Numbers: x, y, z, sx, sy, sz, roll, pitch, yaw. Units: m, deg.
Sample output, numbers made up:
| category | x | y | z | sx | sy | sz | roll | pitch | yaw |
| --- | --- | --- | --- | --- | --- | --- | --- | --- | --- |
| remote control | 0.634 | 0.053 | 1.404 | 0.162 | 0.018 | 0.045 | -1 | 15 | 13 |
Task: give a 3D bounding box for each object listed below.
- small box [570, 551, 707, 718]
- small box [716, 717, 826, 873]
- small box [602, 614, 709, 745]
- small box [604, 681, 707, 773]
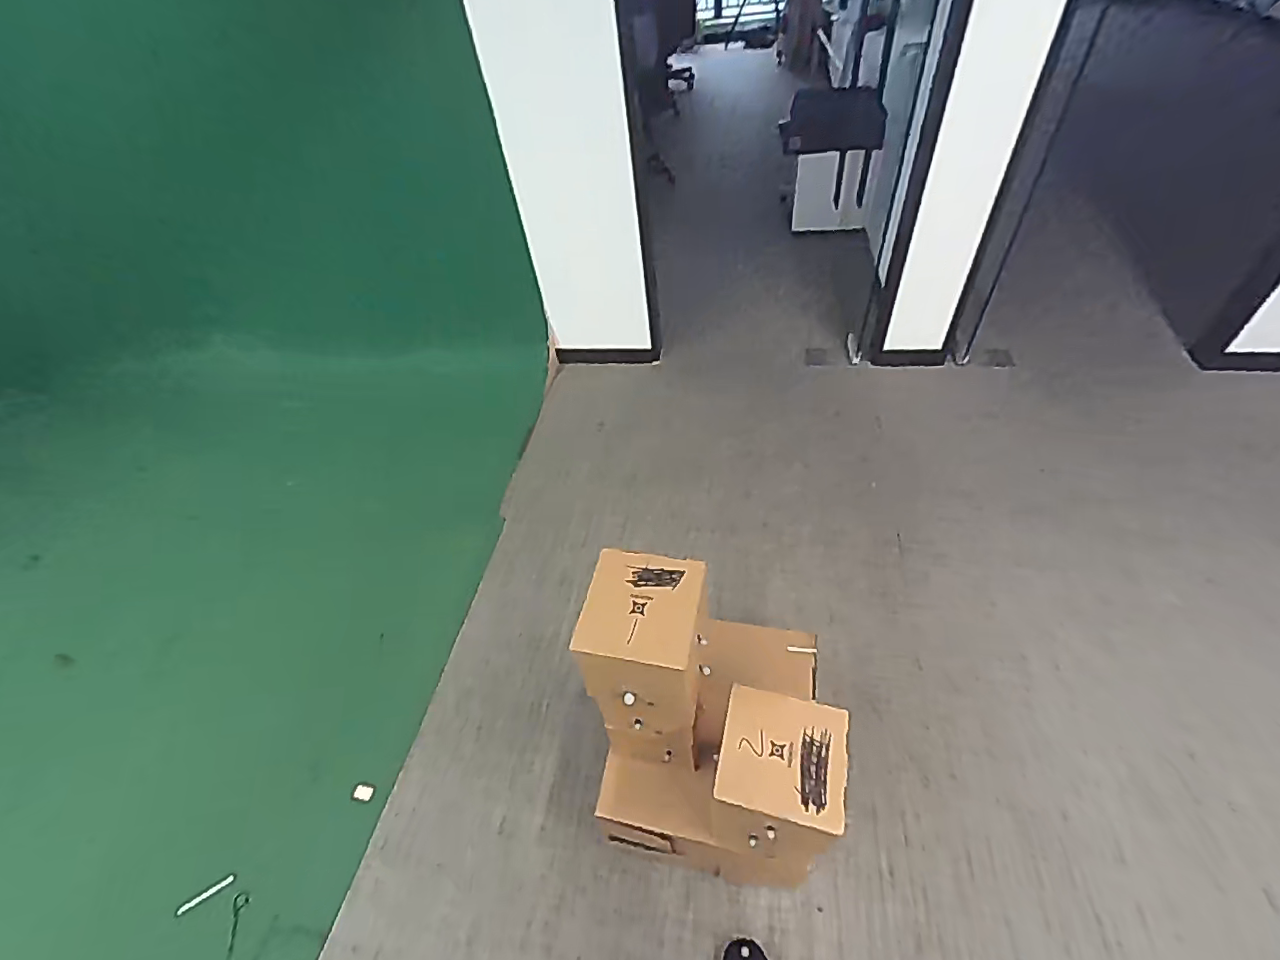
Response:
| category | x | y | z | sx | sy | sz | roll | pitch | yaw |
| --- | --- | --- | --- | --- | --- | --- | --- | --- | --- |
| small box | 0.009 | 0.238 | 0.835 | 0.168 | 0.176 | 0.179 | 6 | 48 | 14 |
| small box | 0.227 | 0.553 | 0.951 | 0.168 | 0.176 | 0.179 | 7 | 47 | 15 |
| small box | 0.028 | 0.341 | 0.961 | 0.168 | 0.176 | 0.179 | 6 | 49 | 14 |
| small box | 0.041 | 0.456 | 1.077 | 0.168 | 0.176 | 0.179 | 6 | 46 | 14 |
